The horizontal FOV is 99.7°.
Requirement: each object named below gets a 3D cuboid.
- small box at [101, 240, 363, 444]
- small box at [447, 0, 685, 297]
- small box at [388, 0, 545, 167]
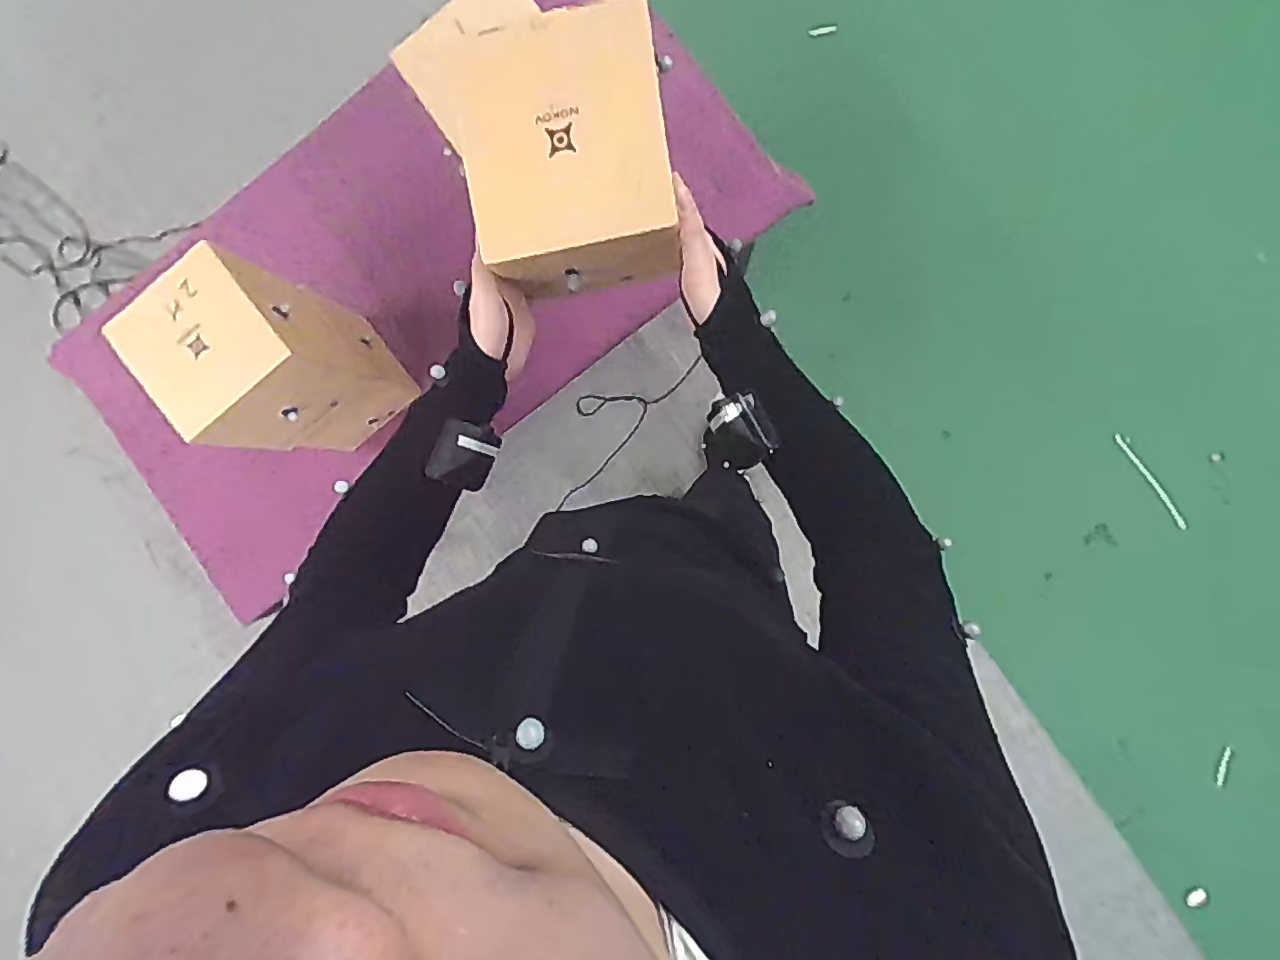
[{"bbox_3d":[-0.505,-0.161,0.699,0.168,0.176,0.179,-38,88,3],"label":"small box"},{"bbox_3d":[-0.051,-0.279,0.502,0.168,0.176,0.179,-8,96,7],"label":"small box"},{"bbox_3d":[-0.160,-0.458,0.672,0.168,0.176,0.179,-35,85,5],"label":"small box"}]
